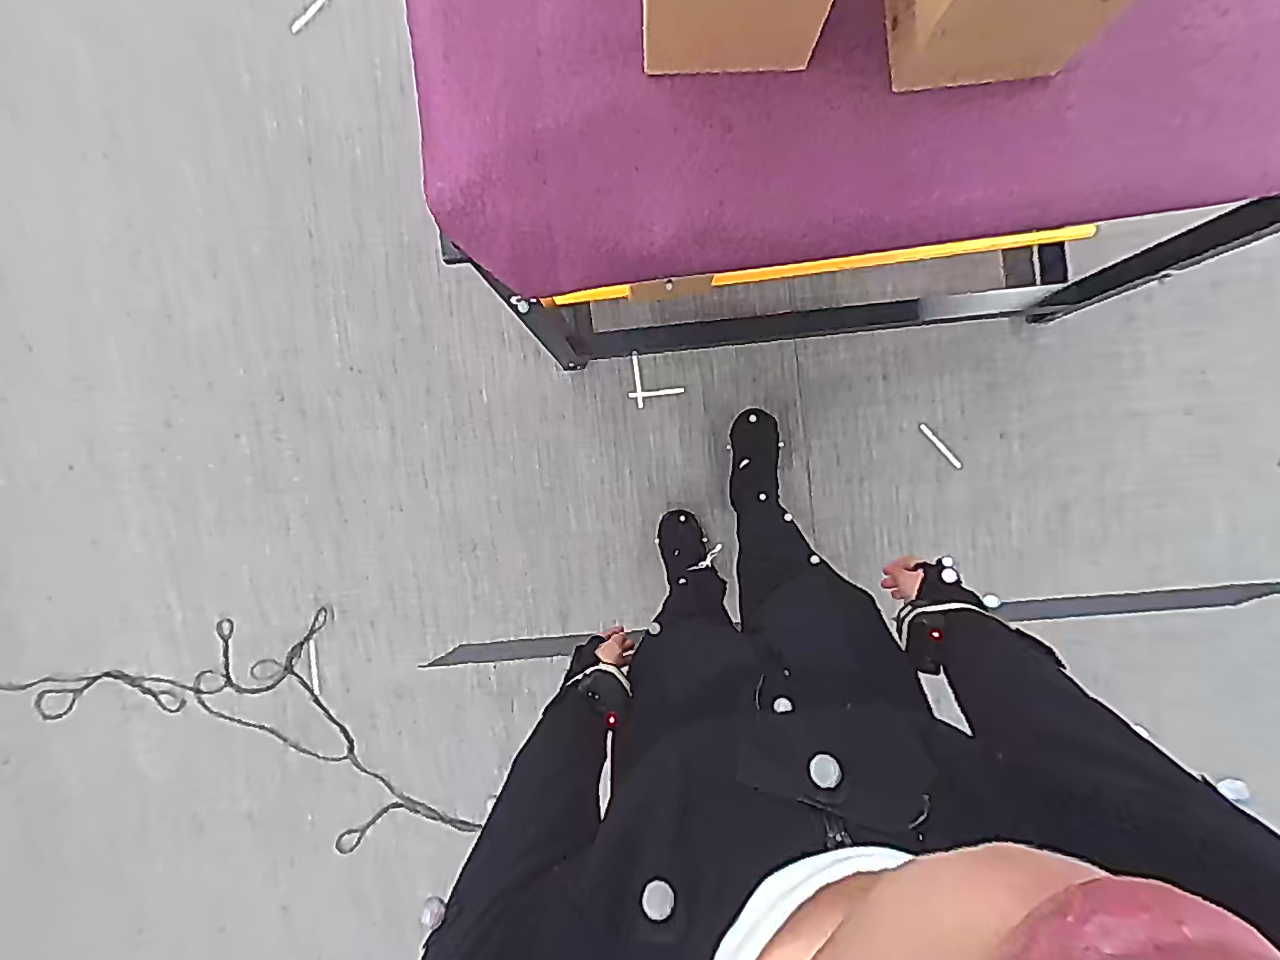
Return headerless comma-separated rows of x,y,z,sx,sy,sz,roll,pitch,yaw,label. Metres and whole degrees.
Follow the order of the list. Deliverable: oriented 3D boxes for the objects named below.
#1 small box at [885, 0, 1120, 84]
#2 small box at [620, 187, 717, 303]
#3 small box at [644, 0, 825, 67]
0.349,-0.508,0.498,0.179,0.176,0.168,-5,89,1,small box
0.054,-0.479,1.123,0.179,0.176,0.168,-7,93,1,small box
0.090,-0.523,0.500,0.179,0.176,0.168,-1,90,-1,small box
